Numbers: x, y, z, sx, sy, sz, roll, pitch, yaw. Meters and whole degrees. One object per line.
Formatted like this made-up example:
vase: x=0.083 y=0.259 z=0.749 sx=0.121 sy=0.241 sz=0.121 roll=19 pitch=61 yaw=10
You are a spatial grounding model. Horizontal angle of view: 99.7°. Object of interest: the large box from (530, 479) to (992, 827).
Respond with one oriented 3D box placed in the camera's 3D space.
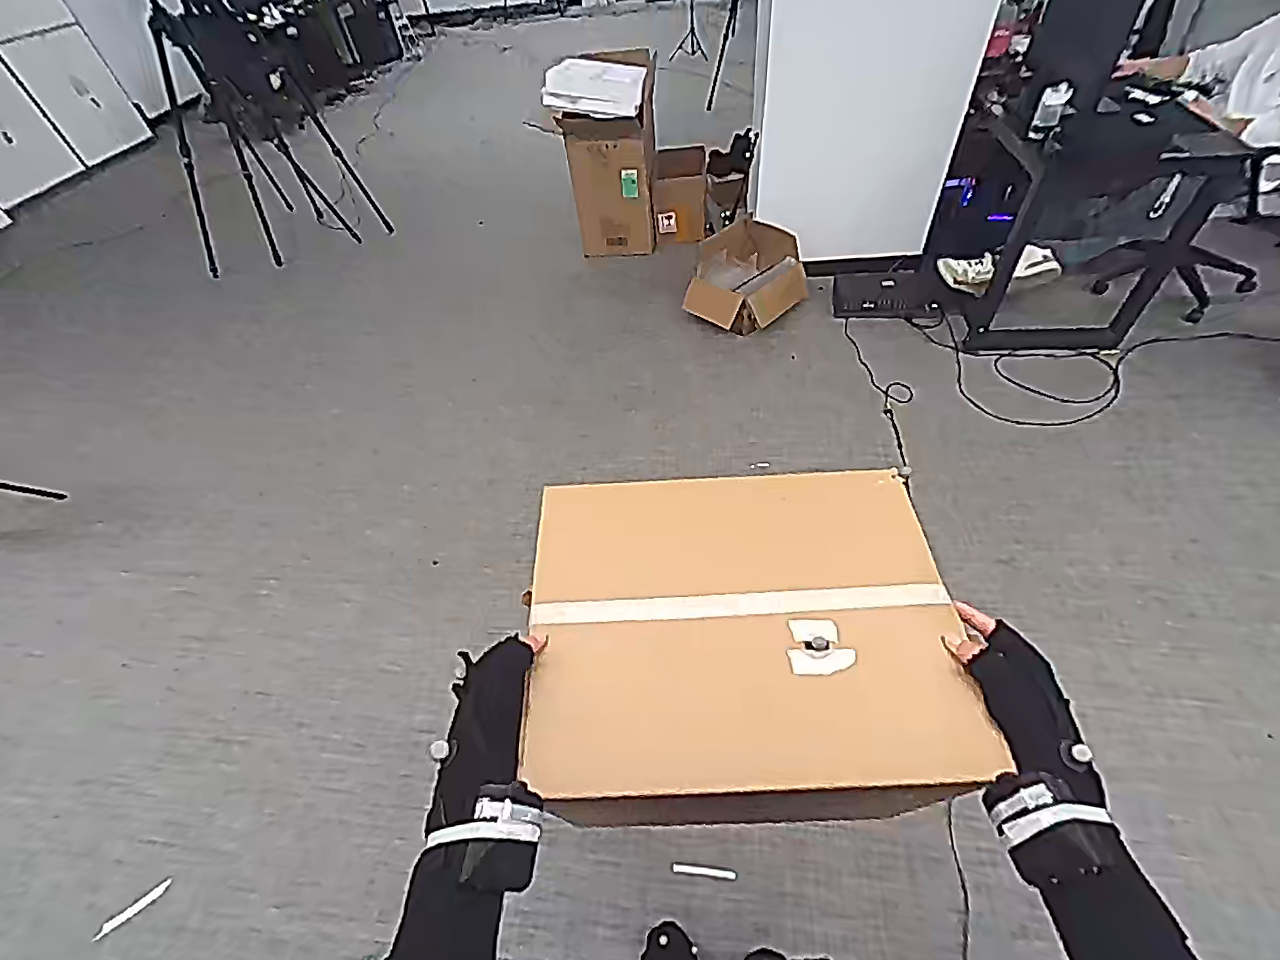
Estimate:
large box: x=0.101 y=0.222 z=0.663 sx=0.408 sy=0.320 sz=0.320 roll=-3 pitch=54 yaw=1
